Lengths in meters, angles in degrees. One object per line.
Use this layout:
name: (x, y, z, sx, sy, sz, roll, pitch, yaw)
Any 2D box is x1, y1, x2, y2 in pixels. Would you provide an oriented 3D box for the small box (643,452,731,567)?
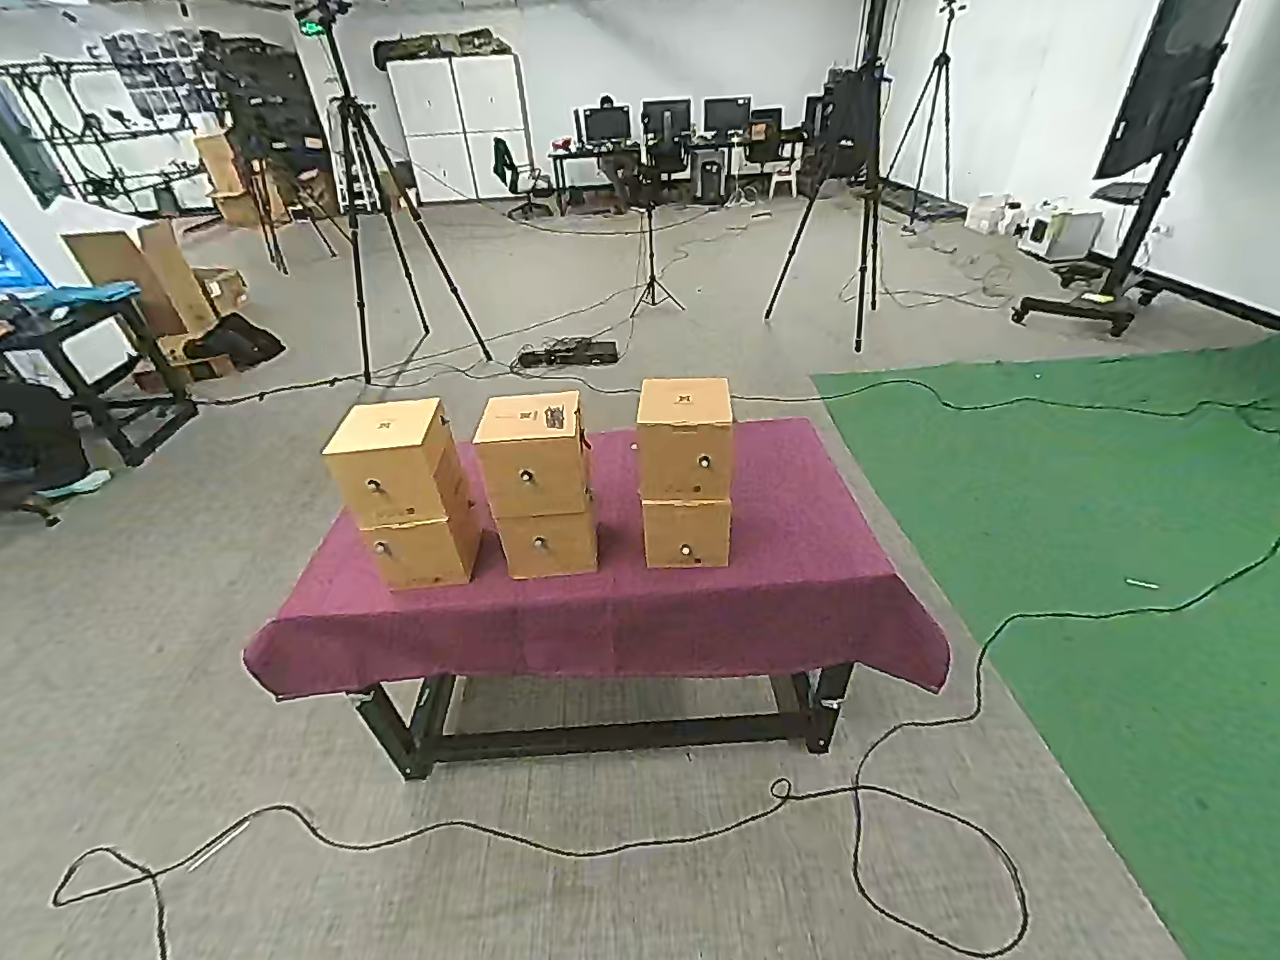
small box: (0.096, 0.058, 1.111, 0.168, 0.176, 0.179, -2, 36, 5)

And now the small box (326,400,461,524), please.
small box: (-0.449, -0.031, 1.022, 0.168, 0.176, 0.179, -7, 35, -3)

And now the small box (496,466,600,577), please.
small box: (-0.180, 0.083, 1.112, 0.179, 0.176, 0.168, -5, 37, 0)

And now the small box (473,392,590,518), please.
small box: (-0.190, -0.046, 1.010, 0.179, 0.176, 0.168, -5, 36, 1)
